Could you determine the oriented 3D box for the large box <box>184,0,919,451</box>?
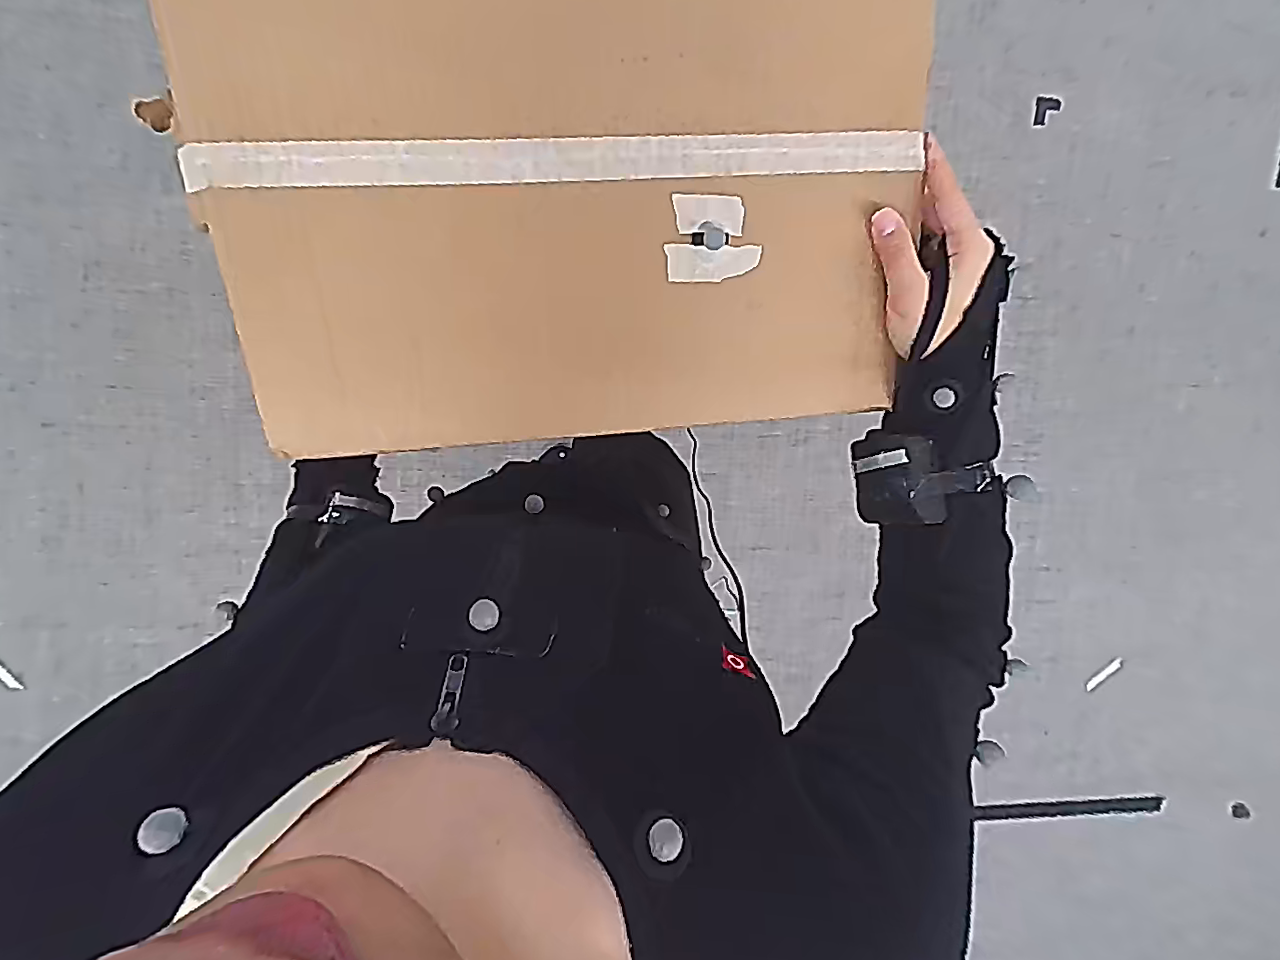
[{"bbox_3d":[-0.051,-0.225,0.456,0.408,0.320,0.320,-6,107,-9],"label":"large box"}]
